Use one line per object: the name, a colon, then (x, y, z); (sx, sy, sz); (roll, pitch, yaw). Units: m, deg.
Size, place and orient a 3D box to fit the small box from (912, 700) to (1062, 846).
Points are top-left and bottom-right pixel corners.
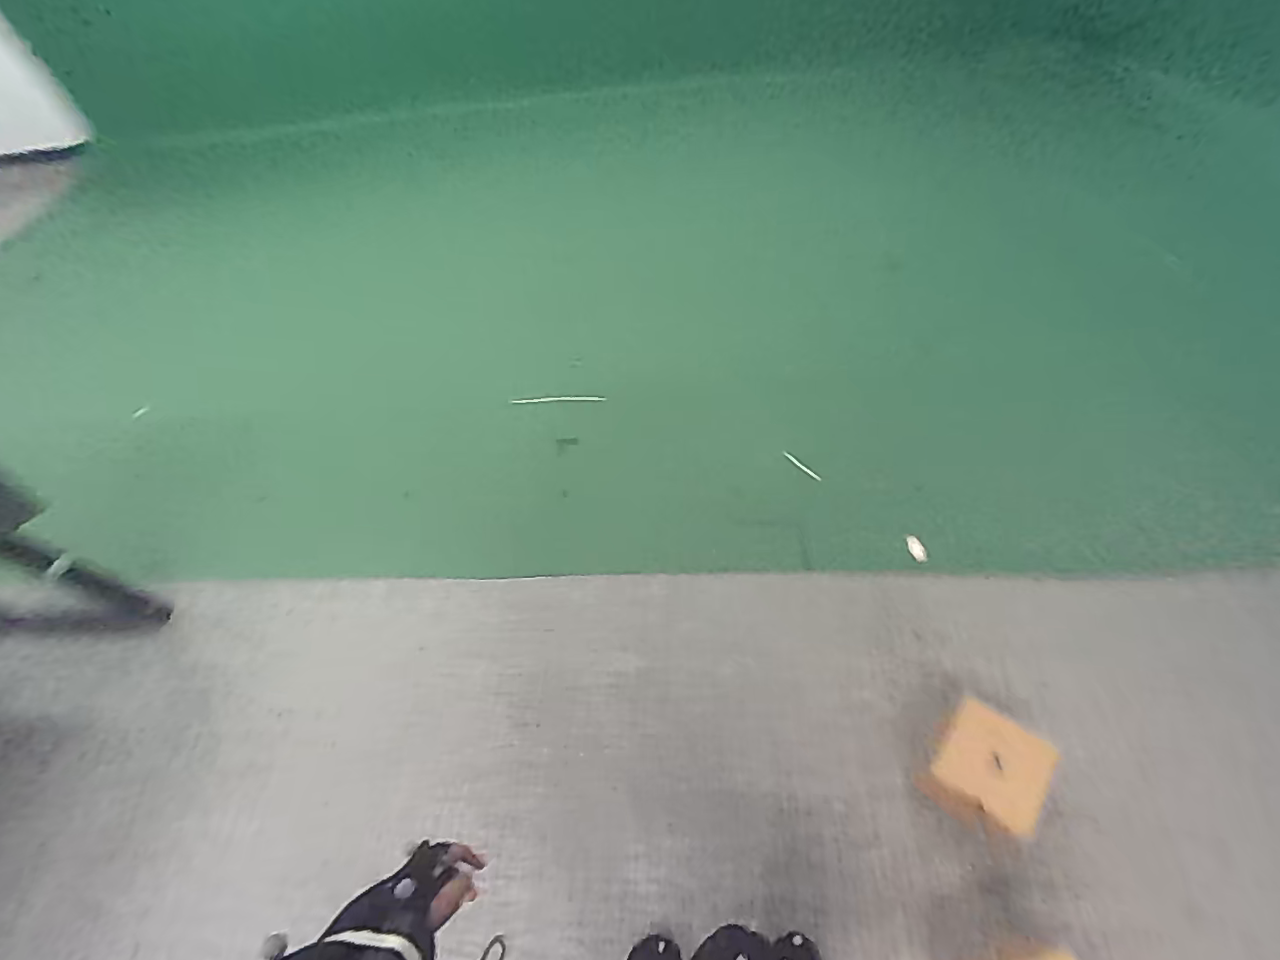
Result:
small box: (0.643, 0.558, 1.024); (0.168, 0.176, 0.179); (32, 63, 25)
